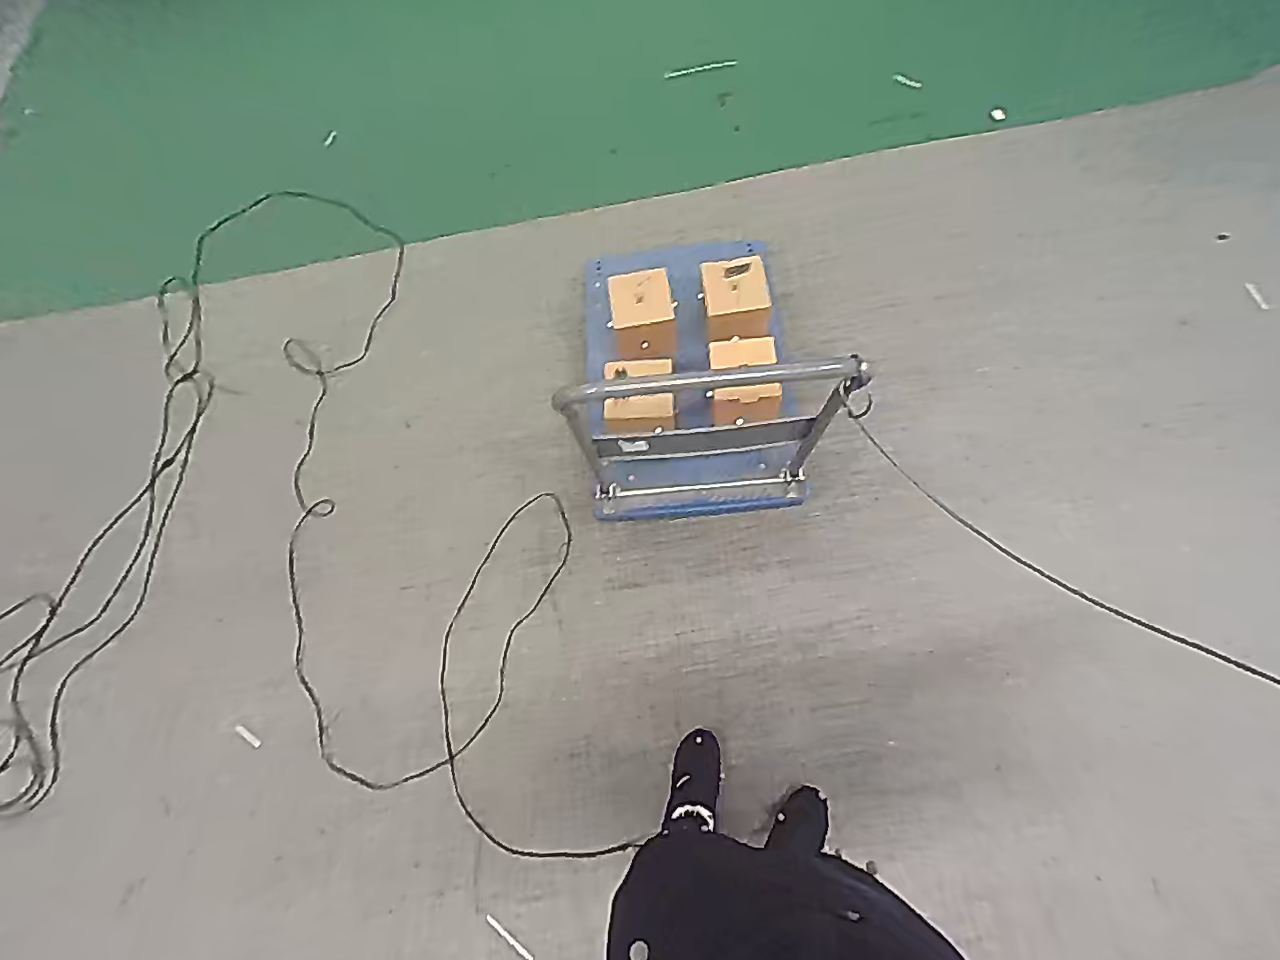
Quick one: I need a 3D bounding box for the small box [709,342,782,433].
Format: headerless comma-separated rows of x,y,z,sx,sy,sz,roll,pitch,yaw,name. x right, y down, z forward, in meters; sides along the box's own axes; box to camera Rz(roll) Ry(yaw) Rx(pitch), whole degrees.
0.272,-0.240,1.431,0.168,0.176,0.179,-3,71,4,small box

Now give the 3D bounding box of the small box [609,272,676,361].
0.010,-0.454,1.533,0.168,0.176,0.179,-8,69,2,small box

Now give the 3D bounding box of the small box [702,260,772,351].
0.265,-0.482,1.518,0.168,0.176,0.179,-7,70,4,small box
